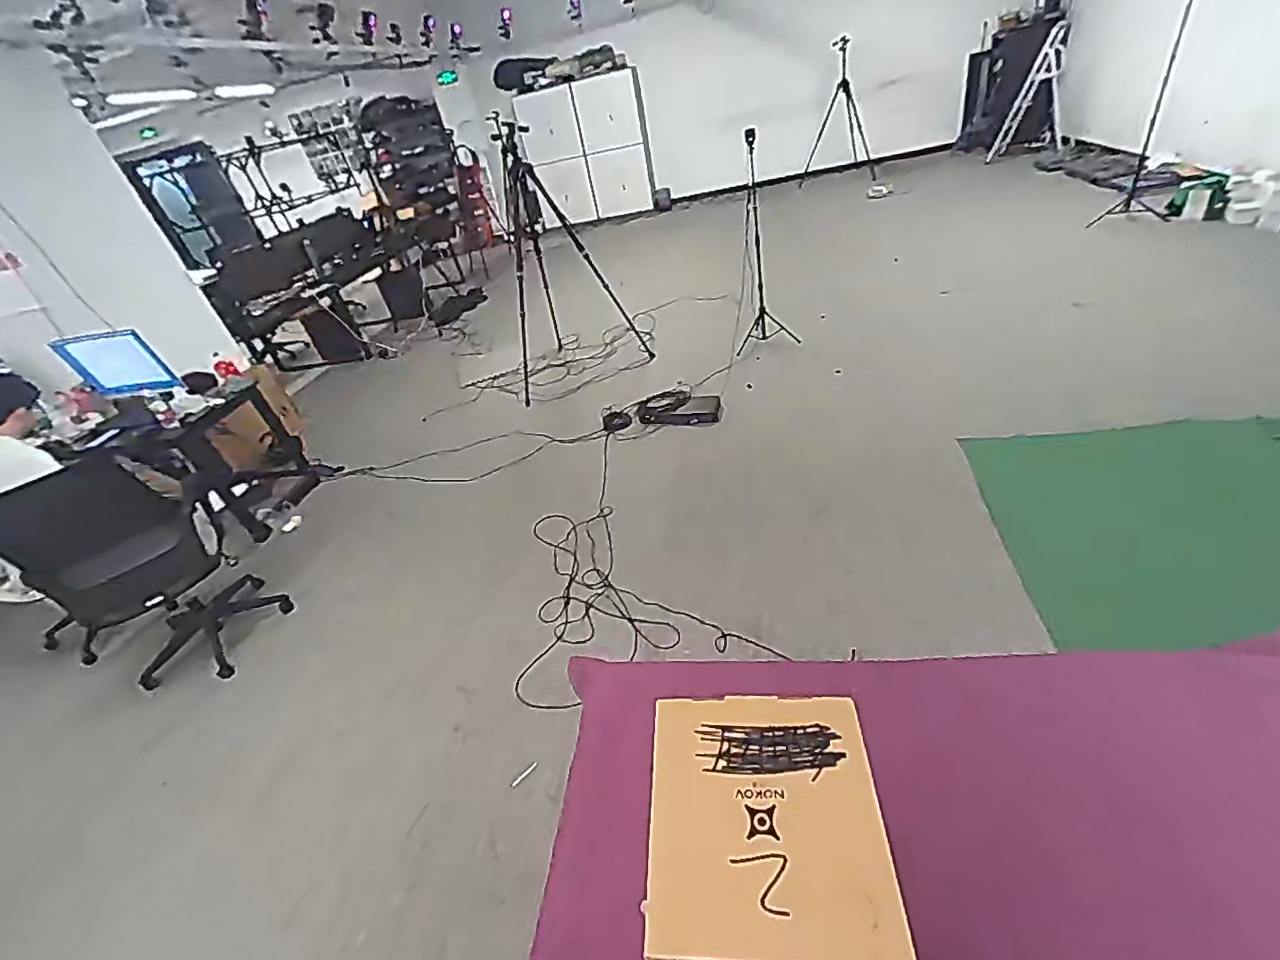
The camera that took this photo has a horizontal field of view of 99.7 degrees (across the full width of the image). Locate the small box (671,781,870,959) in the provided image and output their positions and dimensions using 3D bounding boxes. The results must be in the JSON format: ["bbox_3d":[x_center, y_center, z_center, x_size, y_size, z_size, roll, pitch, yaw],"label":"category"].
[{"bbox_3d":[0.124,0.426,0.534,0.168,0.176,0.179,-4,38,9],"label":"small box"}]
